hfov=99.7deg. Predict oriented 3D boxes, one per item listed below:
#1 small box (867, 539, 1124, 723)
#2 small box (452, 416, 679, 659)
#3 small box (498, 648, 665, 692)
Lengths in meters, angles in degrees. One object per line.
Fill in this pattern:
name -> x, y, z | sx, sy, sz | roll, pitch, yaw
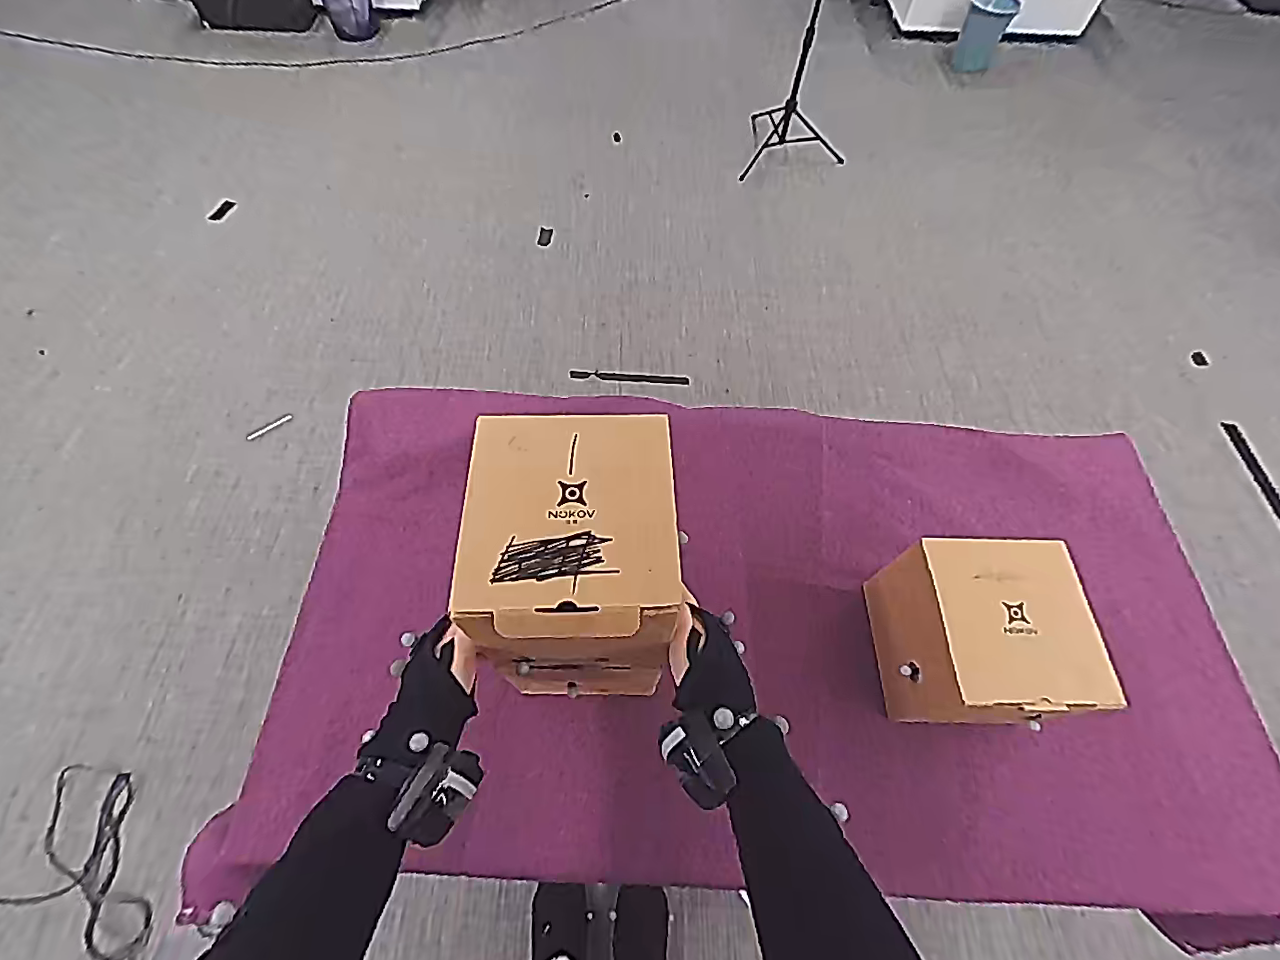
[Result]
small box -> 0.388, 0.183, 0.631 | 0.168, 0.176, 0.179 | 2, 61, -1
small box -> -0.055, 0.060, 0.492 | 0.168, 0.176, 0.179 | 0, 59, -2
small box -> -0.060, 0.144, 0.636 | 0.168, 0.176, 0.179 | 2, 62, -2
